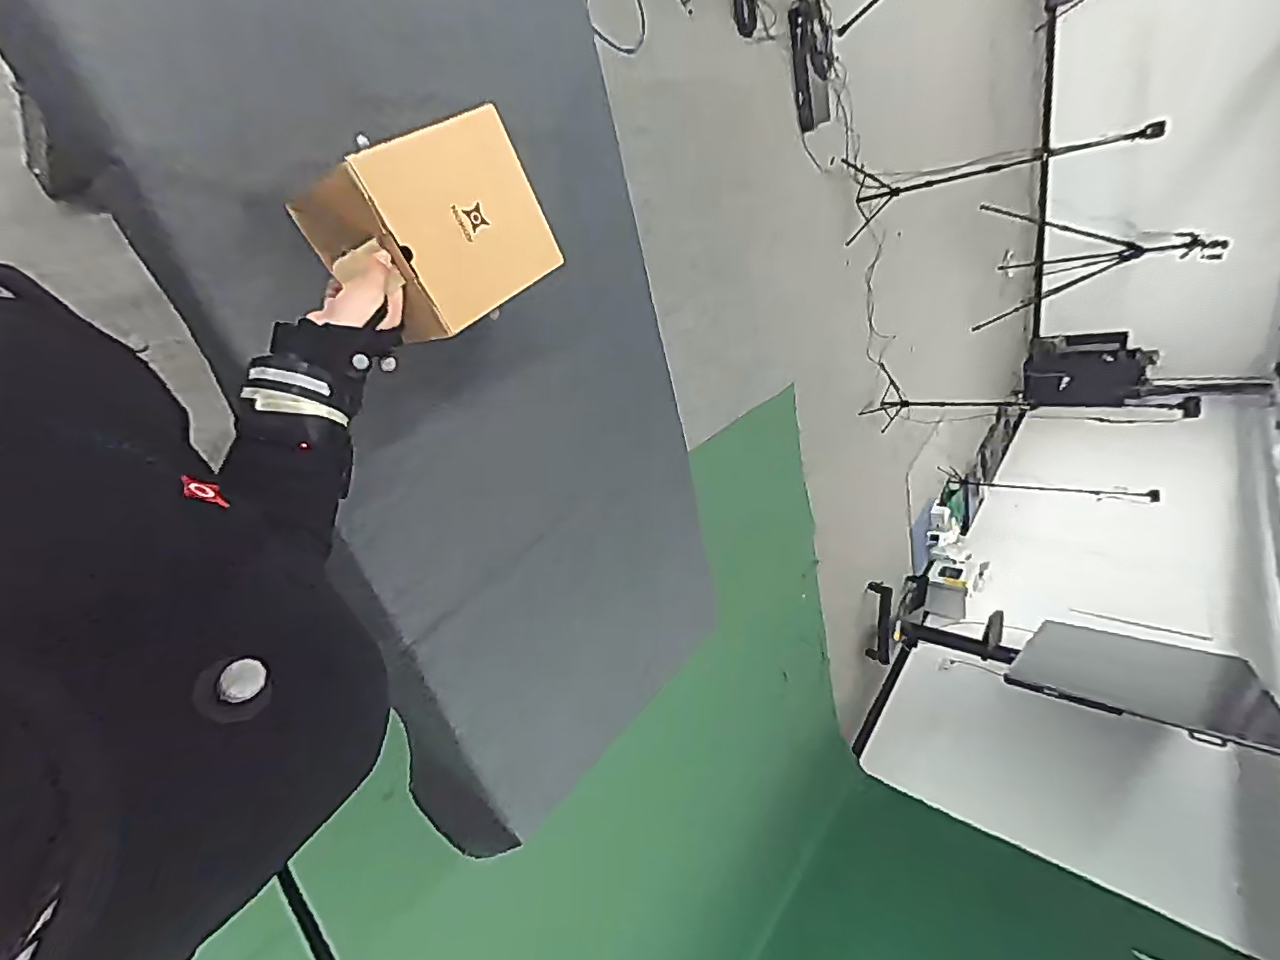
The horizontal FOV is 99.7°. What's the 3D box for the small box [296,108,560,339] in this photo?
[{"bbox_3d":[-0.227,-0.269,0.591,0.179,0.176,0.168,-48,129,-31],"label":"small box"}]
